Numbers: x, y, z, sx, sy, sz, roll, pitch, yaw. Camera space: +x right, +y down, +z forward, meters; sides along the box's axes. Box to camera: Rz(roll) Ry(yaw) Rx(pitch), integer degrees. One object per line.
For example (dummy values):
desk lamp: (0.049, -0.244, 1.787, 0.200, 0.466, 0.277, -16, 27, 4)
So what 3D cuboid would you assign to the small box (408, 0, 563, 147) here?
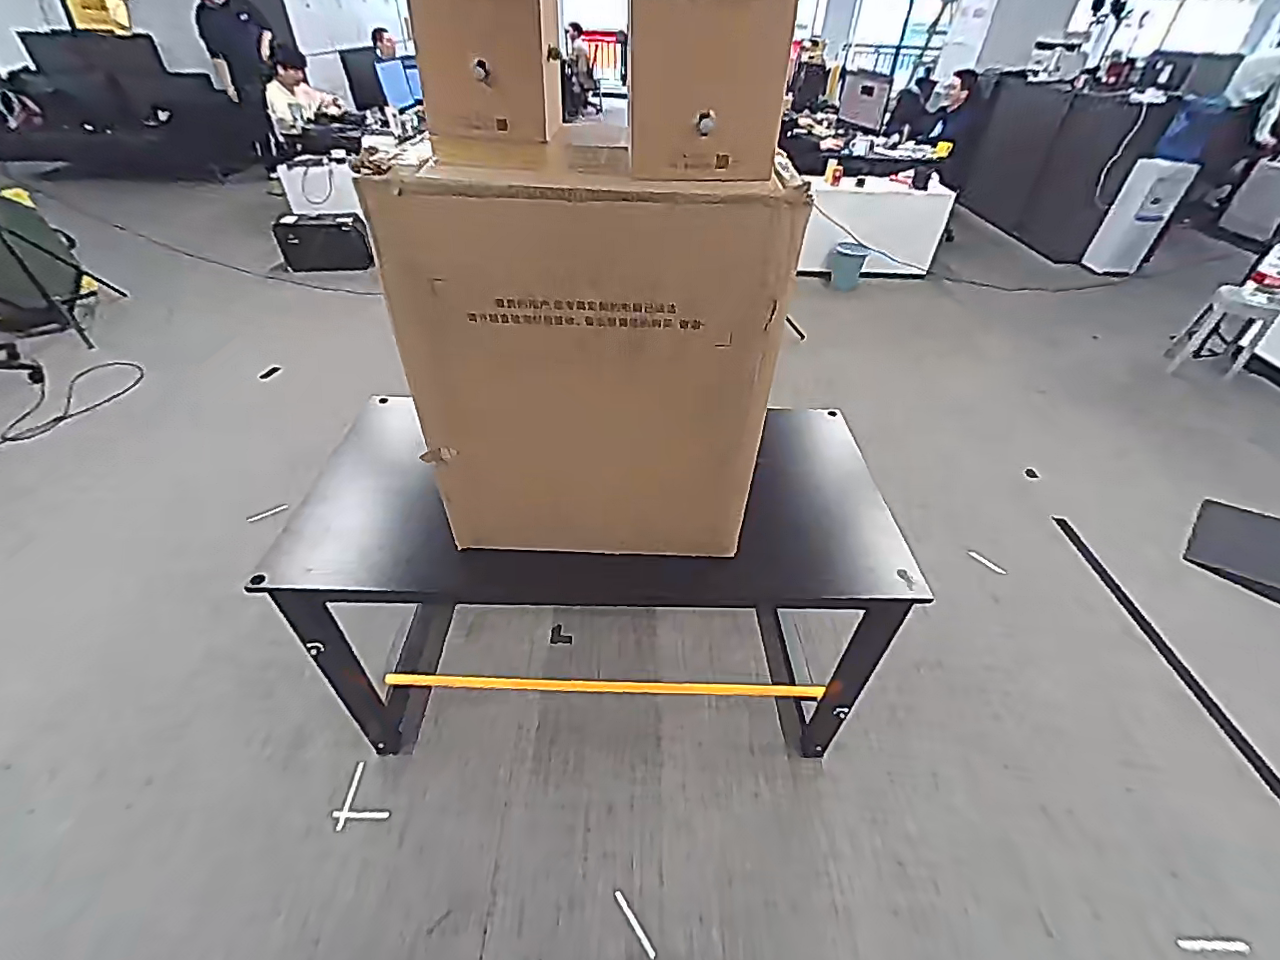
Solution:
small box: (-0.200, -0.582, 0.760, 0.168, 0.176, 0.179, 3, 41, -2)

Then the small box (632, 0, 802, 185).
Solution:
small box: (0.074, -0.463, 0.637, 0.168, 0.176, 0.179, -1, 42, -2)
